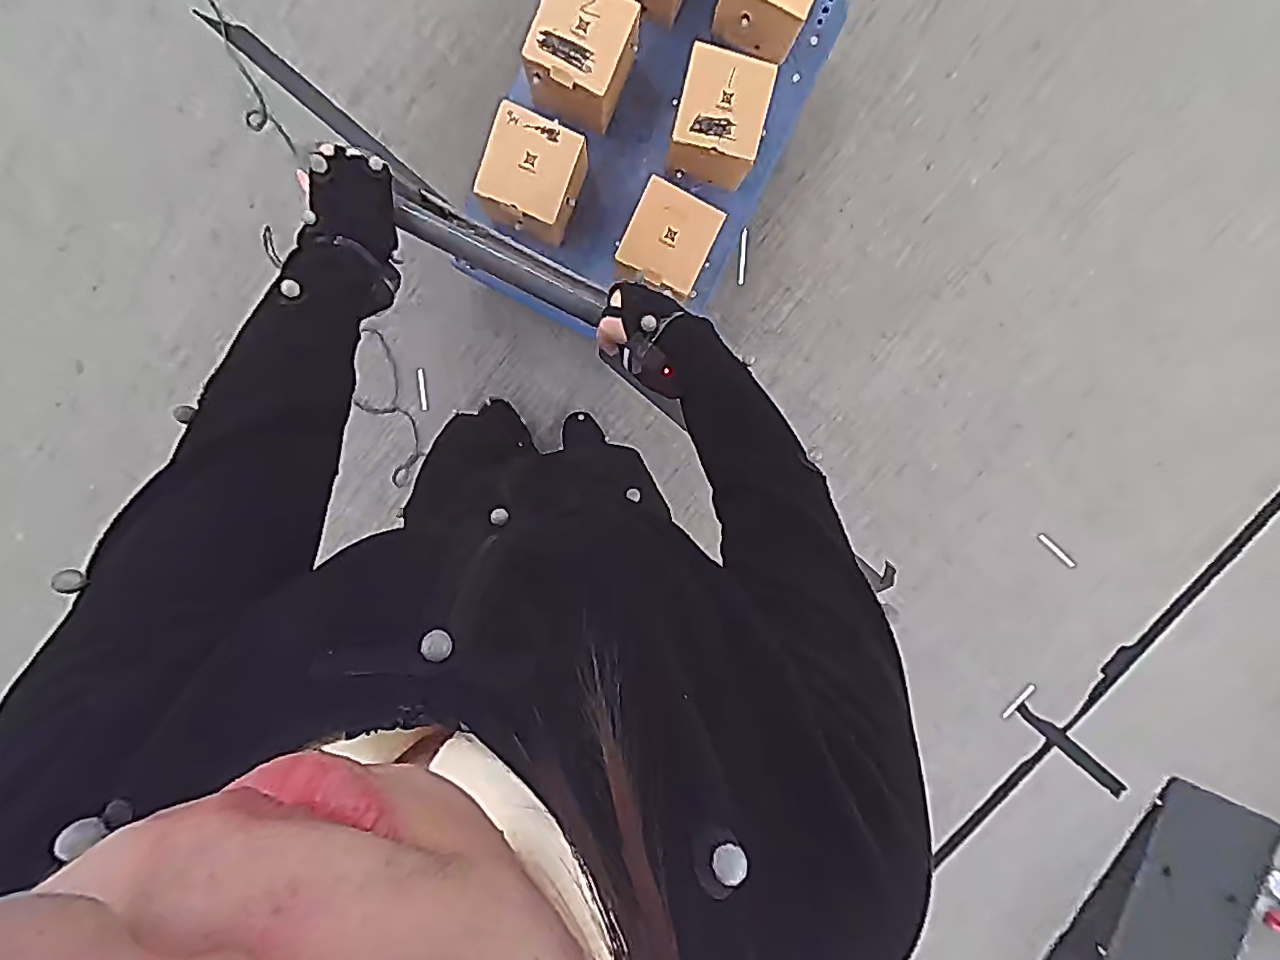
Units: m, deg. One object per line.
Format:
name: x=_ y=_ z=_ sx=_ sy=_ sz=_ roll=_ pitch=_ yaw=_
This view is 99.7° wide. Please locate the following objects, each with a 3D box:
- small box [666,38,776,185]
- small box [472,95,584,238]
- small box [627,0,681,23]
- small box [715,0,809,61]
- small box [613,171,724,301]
small box: x=0.154 y=-0.733 z=1.100 sx=0.168 sy=0.176 sz=0.179 roll=13 pitch=99 yaw=-6
small box: x=-0.217 y=-0.620 z=1.099 sx=0.168 sy=0.176 sz=0.179 roll=22 pitch=99 yaw=-8
small box: x=0.033 y=-1.047 z=1.032 sx=0.168 sy=0.176 sz=0.179 roll=27 pitch=99 yaw=-8
small box: x=0.258 y=-0.982 z=1.060 sx=0.168 sy=0.176 sz=0.179 roll=22 pitch=98 yaw=-7
small box: x=0.053 y=-0.499 z=1.140 sx=0.168 sy=0.176 sz=0.179 roll=26 pitch=98 yaw=-8
